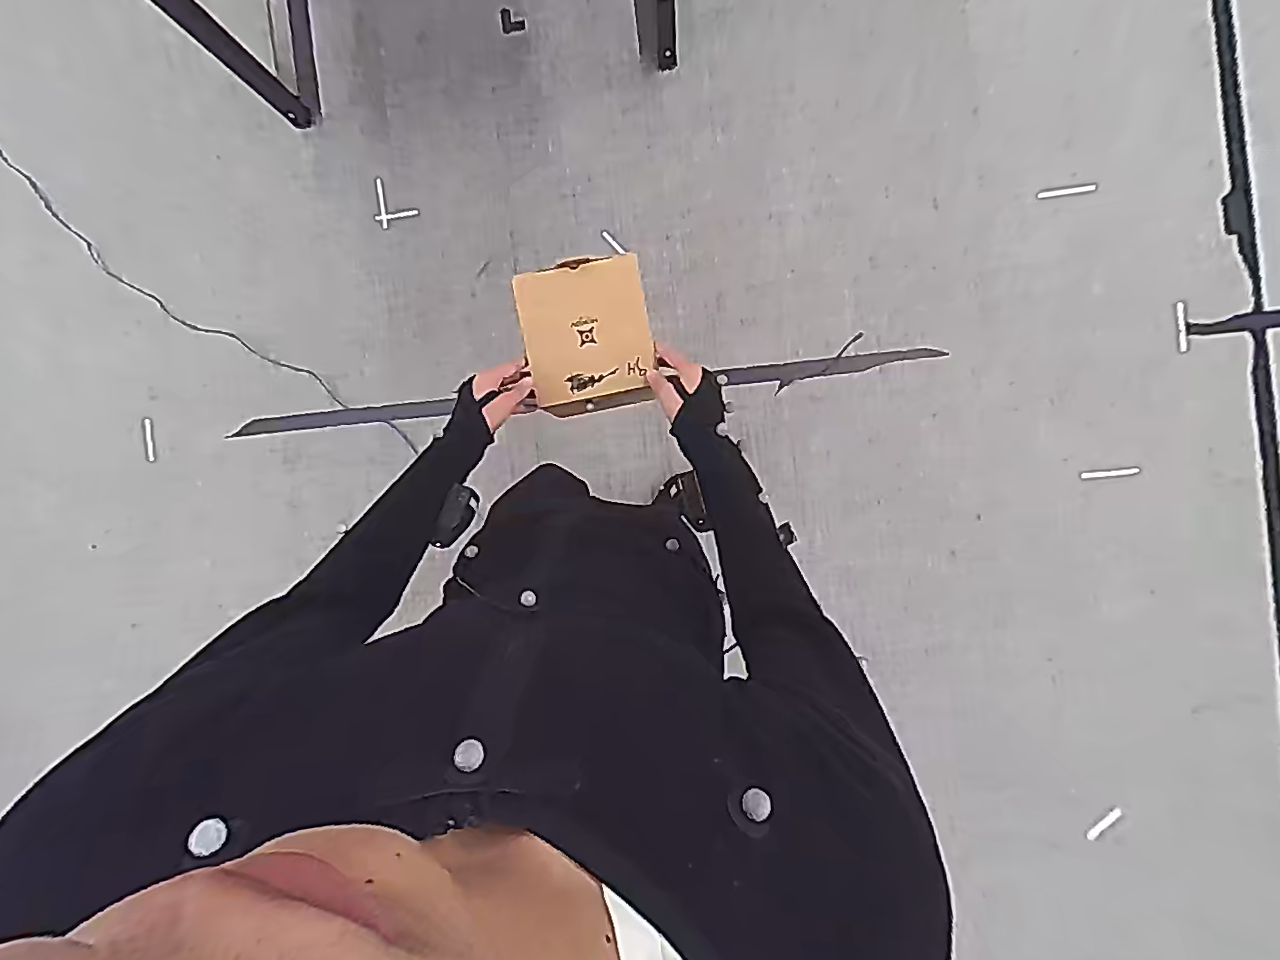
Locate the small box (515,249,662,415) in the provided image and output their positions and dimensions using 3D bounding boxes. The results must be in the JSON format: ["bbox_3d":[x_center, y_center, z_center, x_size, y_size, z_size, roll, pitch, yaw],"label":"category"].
[{"bbox_3d":[-0.066,-0.199,0.774,0.168,0.176,0.179,-11,91,1],"label":"small box"}]
